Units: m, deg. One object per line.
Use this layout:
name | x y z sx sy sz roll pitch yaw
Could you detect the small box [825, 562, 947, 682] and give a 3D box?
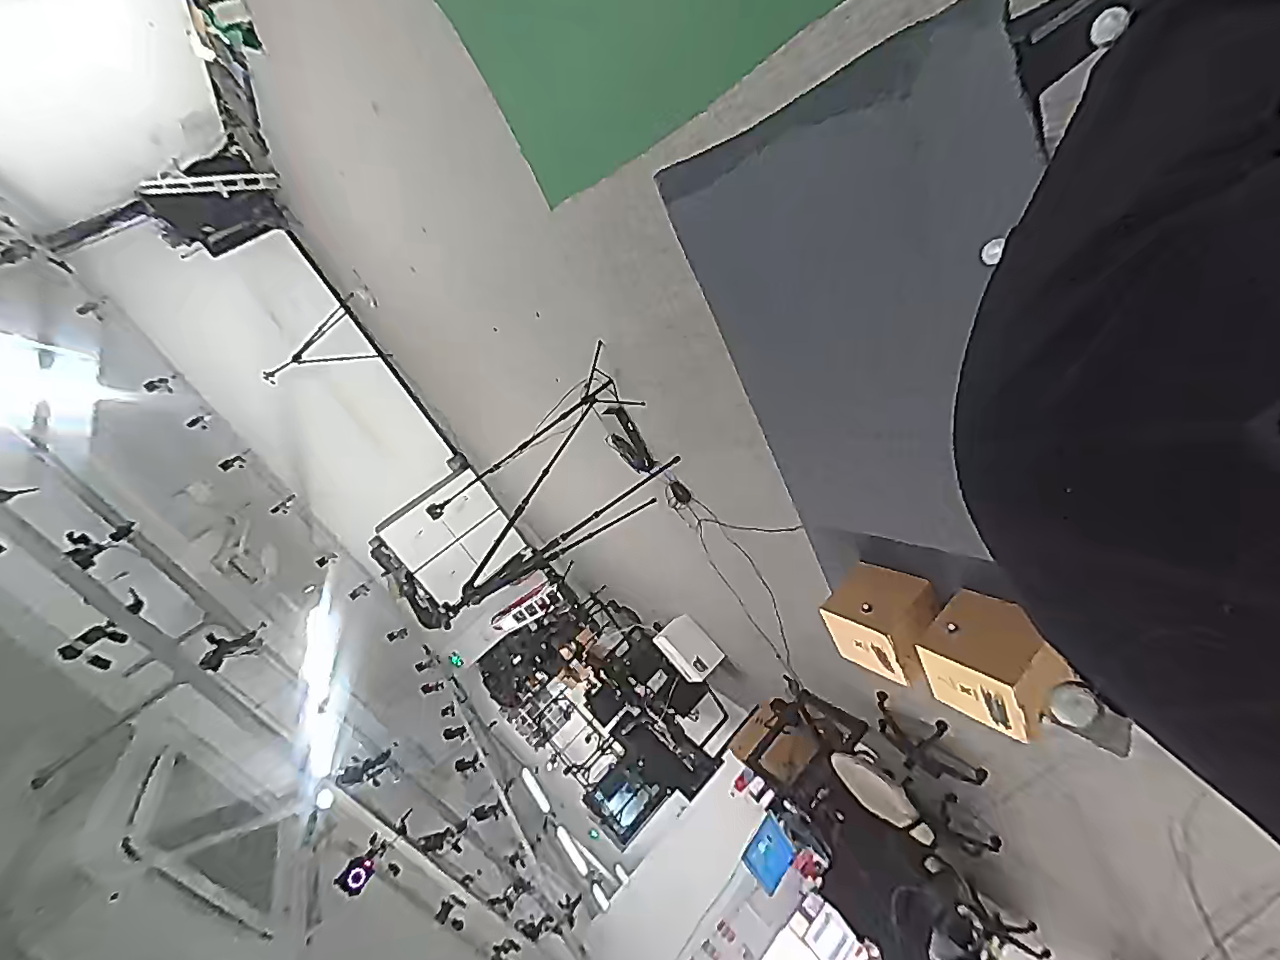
small box | 0.557 0.308 1.211 0.179 0.176 0.168 13 138 58
